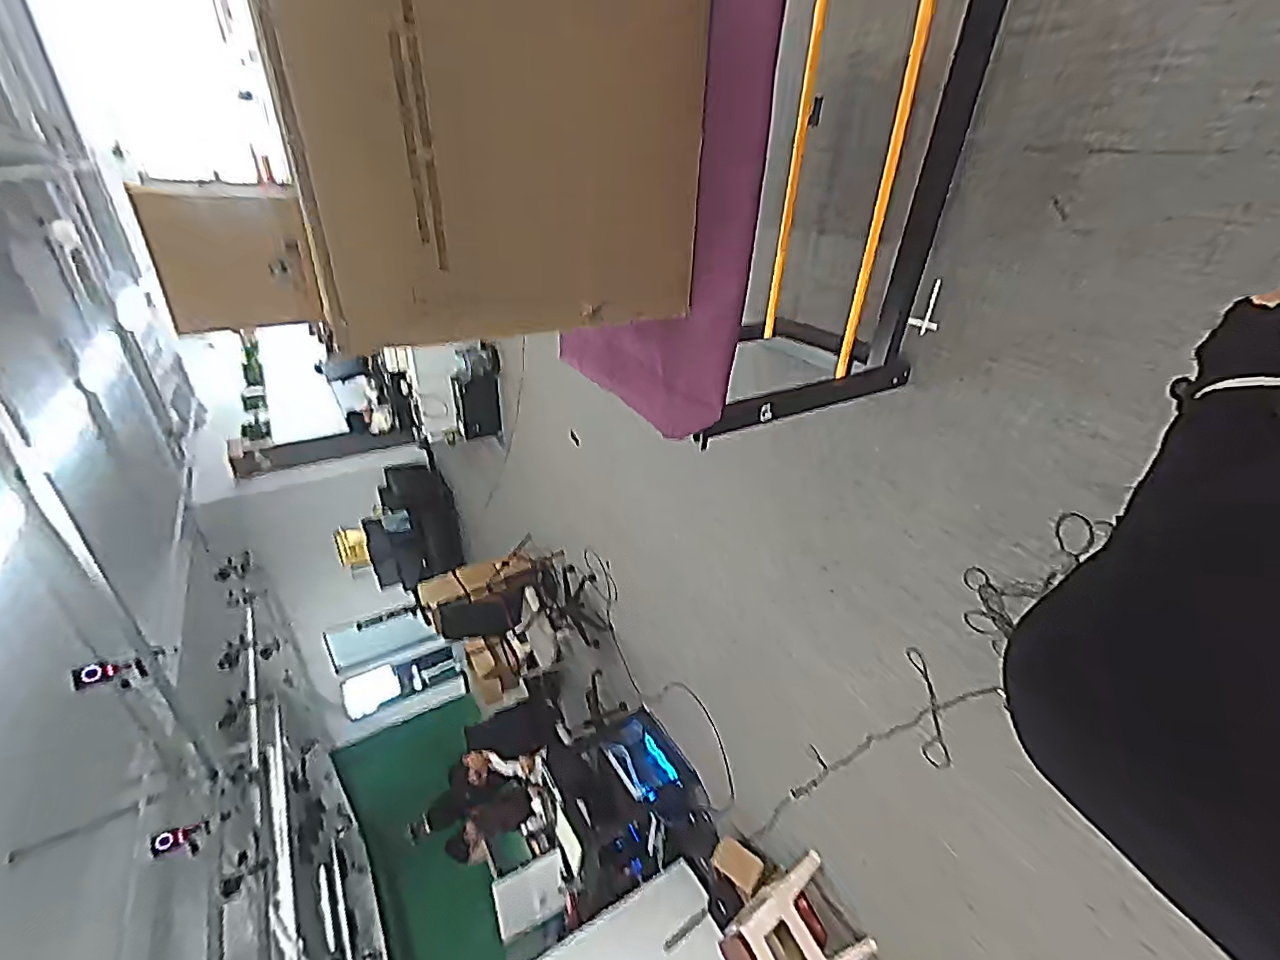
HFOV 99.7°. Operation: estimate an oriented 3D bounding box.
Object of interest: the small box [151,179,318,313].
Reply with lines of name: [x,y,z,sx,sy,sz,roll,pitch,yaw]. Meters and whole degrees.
small box: [-0.637,-0.376,0.866,0.168,0.176,0.179,38,134,48]
